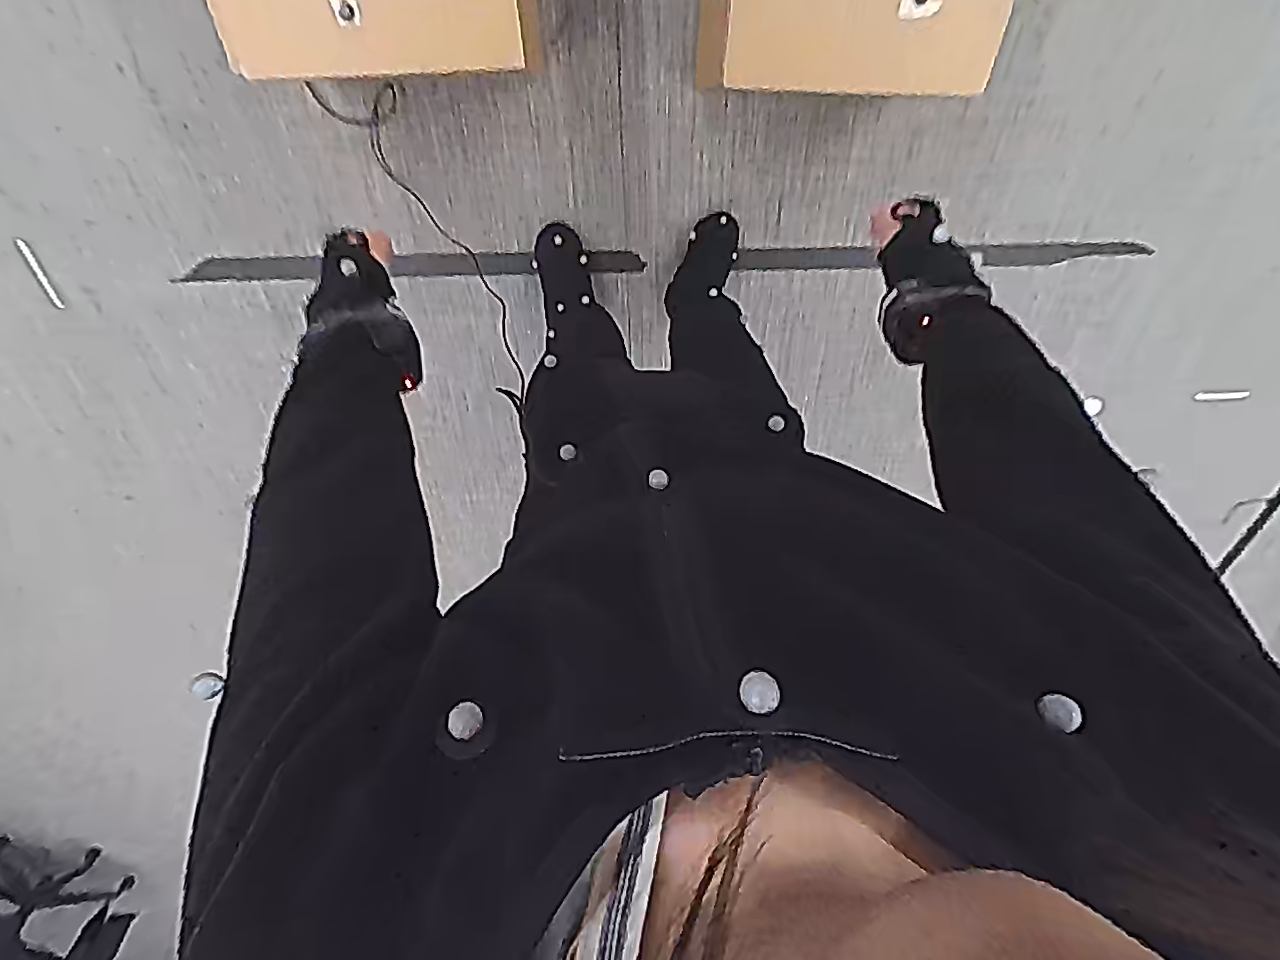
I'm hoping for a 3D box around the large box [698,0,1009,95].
[{"bbox_3d":[0.317,-0.802,0.851,0.408,0.320,0.320,-1,125,-4],"label":"large box"}]
